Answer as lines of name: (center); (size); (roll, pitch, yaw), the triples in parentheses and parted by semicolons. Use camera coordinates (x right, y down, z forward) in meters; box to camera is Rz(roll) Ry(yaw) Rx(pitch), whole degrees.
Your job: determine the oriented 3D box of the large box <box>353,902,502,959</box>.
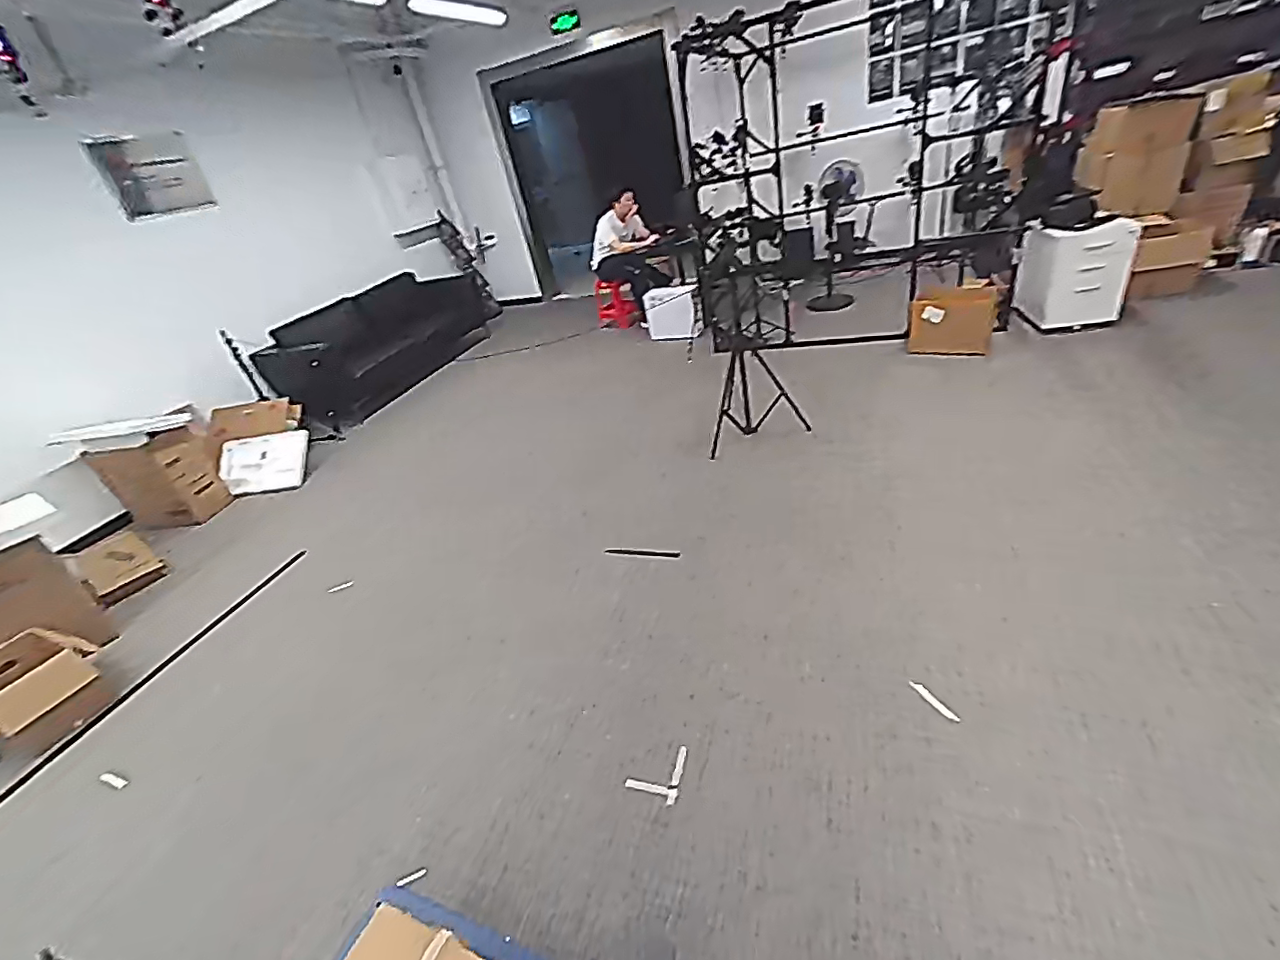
large box: (-0.374, 1.026, 0.879); (0.320, 0.320, 0.408); (3, 35, 27)
